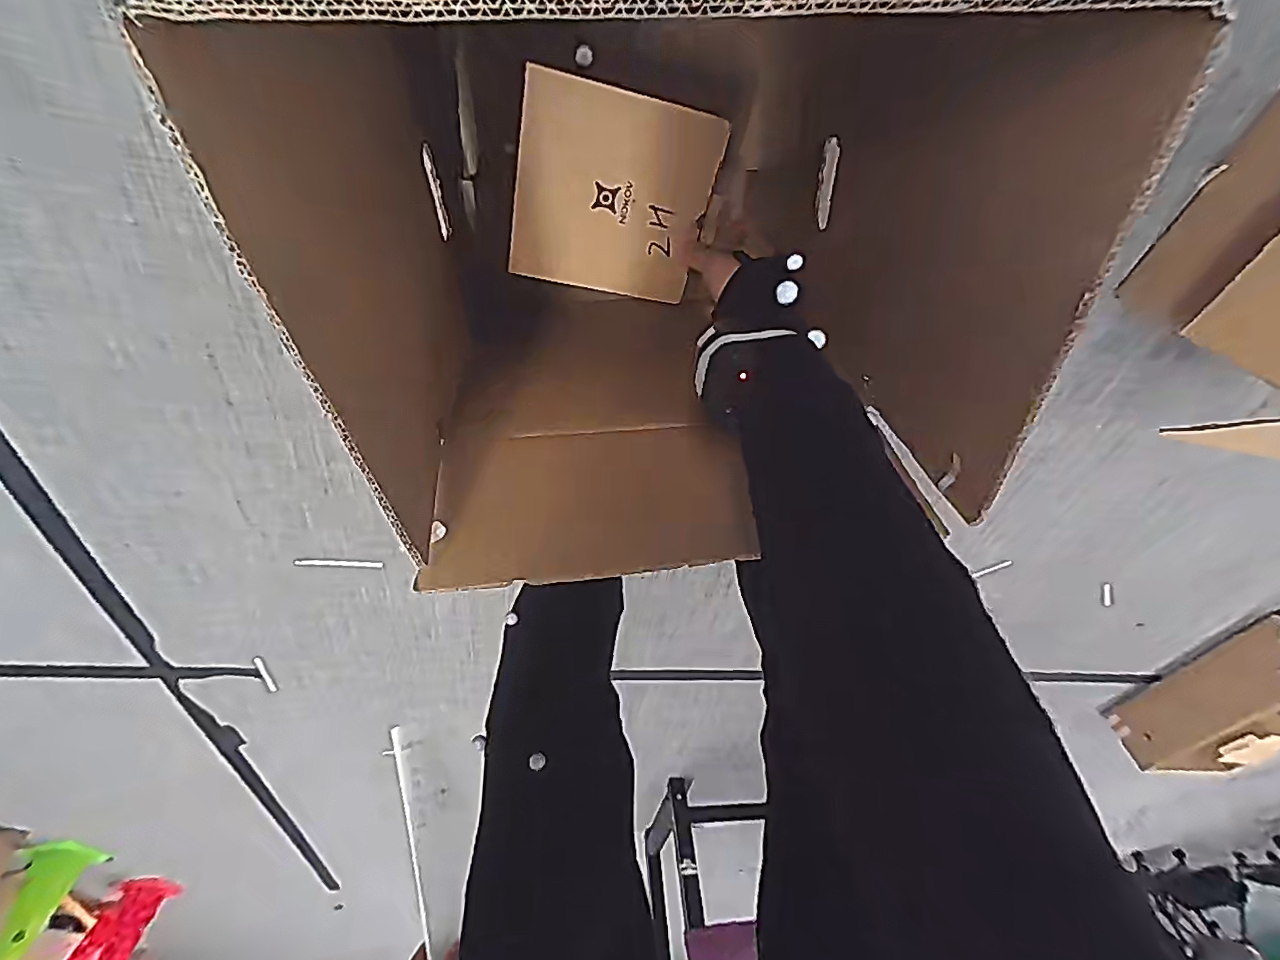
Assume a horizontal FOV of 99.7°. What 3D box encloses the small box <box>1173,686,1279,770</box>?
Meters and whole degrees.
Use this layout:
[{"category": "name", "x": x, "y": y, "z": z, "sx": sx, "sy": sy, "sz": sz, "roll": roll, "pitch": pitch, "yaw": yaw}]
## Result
[{"category": "small box", "x": 1.766, "y": 0.735, "z": 1.606, "sx": 0.179, "sy": 0.176, "sz": 0.168, "roll": 16, "pitch": 127, "yaw": -19}]
